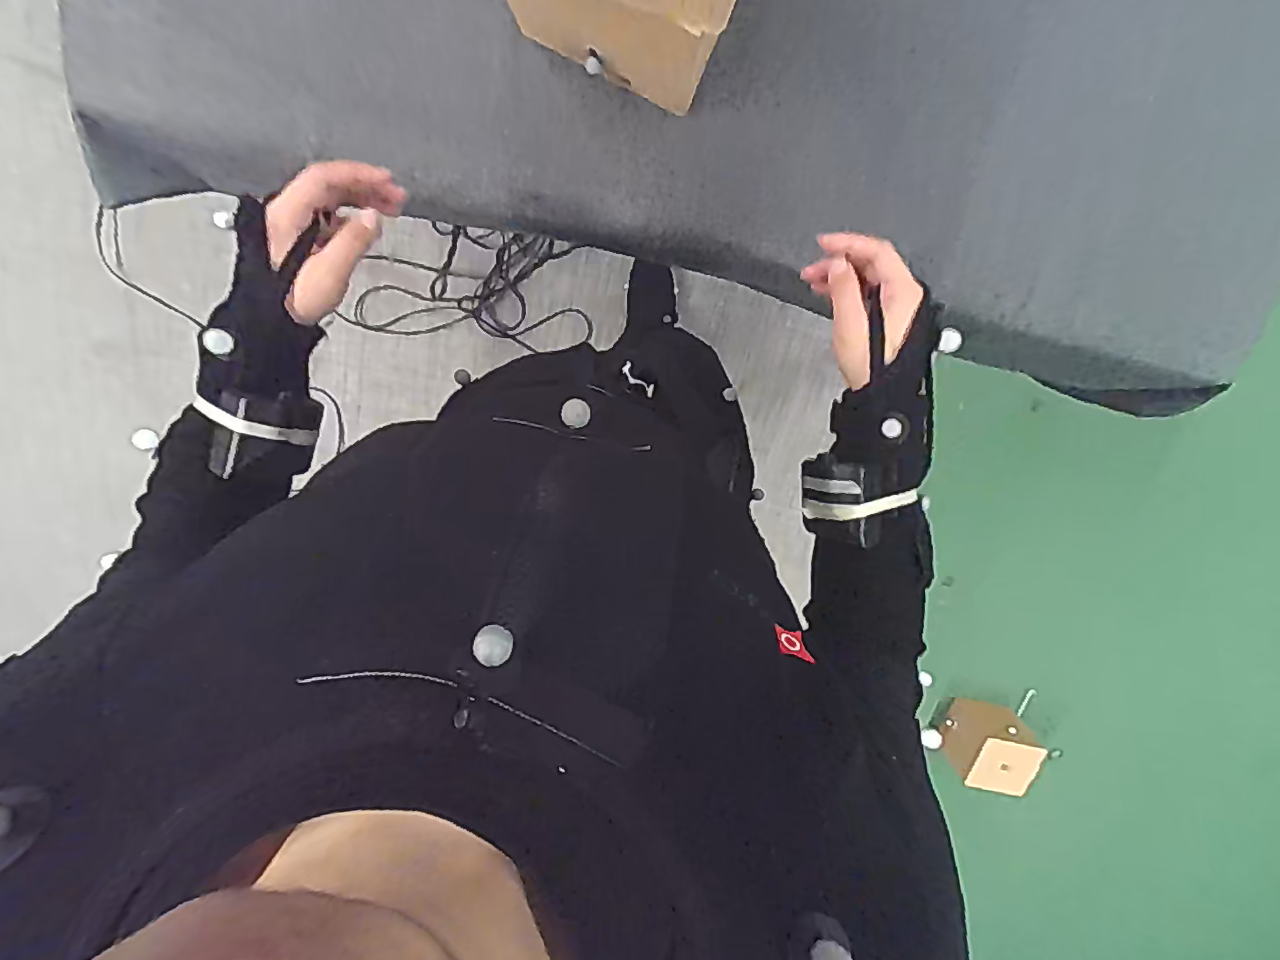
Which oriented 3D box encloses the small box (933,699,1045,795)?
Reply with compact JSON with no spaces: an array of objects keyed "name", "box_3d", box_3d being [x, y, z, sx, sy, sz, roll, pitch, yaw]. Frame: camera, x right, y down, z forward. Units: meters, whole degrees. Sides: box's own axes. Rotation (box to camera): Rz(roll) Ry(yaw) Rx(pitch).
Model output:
[{"name":"small box","box_3d":[0.983,0.753,1.540,0.179,0.176,0.168,13,106,-3]}]
